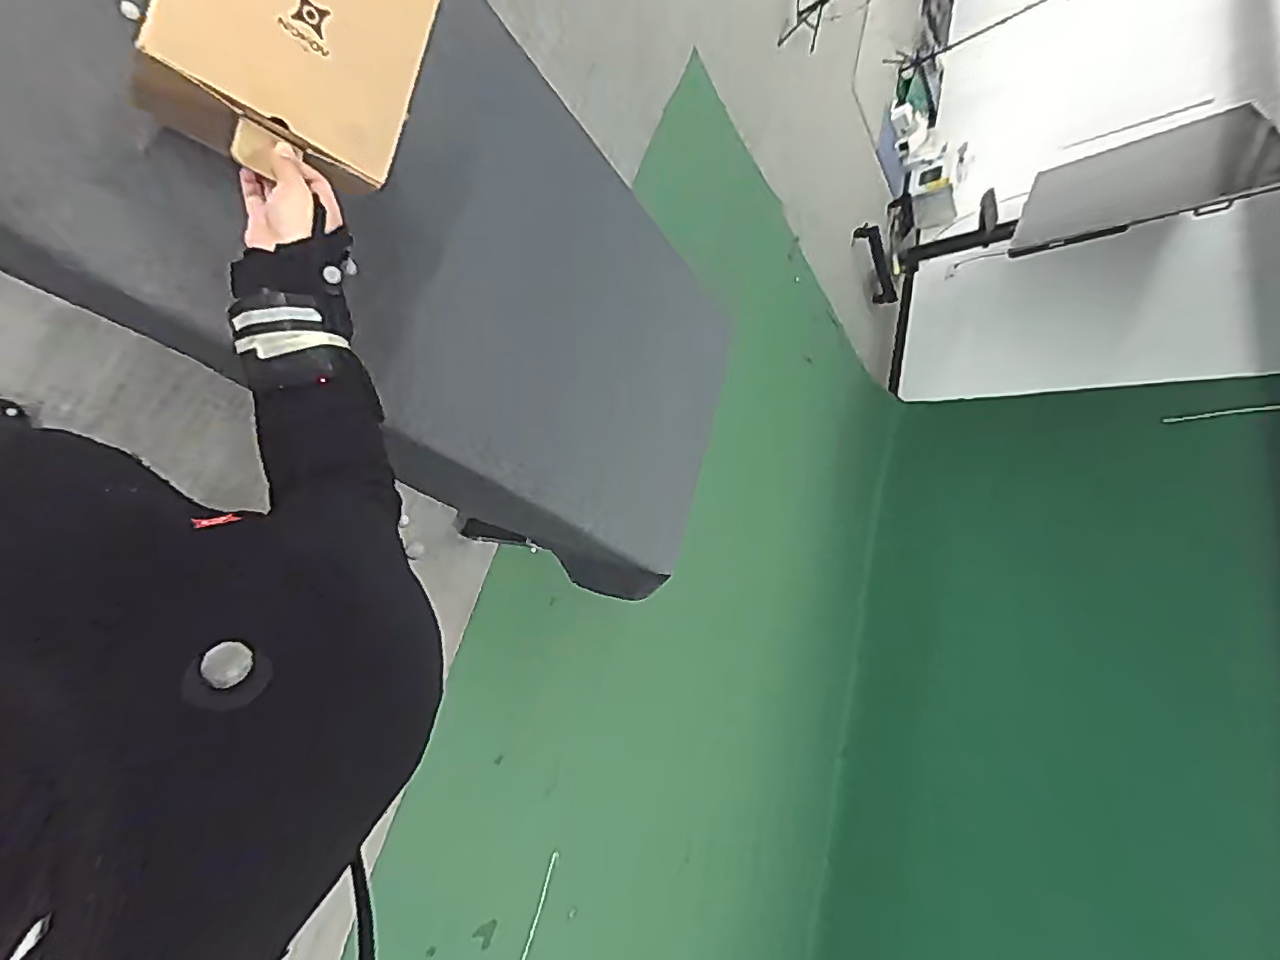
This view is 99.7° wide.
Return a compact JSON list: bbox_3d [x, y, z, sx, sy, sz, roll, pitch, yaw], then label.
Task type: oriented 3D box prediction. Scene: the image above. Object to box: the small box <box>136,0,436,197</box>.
[{"bbox_3d":[-0.313,-0.379,0.476,0.168,0.176,0.179,16,91,-47],"label":"small box"}]
